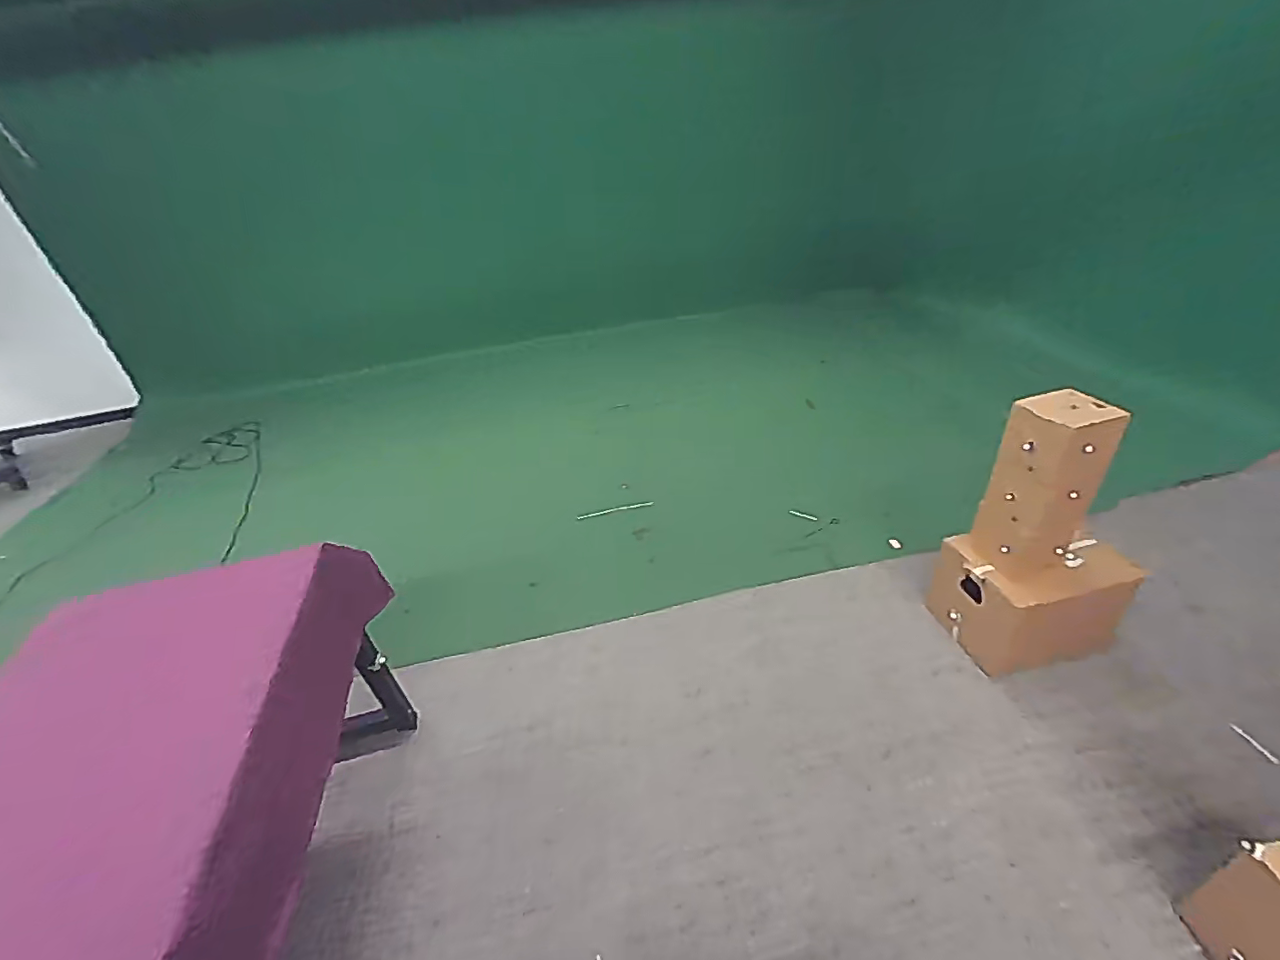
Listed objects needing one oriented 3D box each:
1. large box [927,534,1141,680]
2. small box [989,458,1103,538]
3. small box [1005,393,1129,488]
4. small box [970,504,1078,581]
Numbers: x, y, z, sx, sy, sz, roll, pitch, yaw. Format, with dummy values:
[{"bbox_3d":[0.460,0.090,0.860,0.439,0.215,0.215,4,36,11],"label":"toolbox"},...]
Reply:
[{"bbox_3d":[1.196,0.368,1.691,0.408,0.320,0.320,-11,34,-7],"label":"large box"},{"bbox_3d":[1.088,0.037,1.470,0.179,0.176,0.168,-14,35,-11],"label":"small box"},{"bbox_3d":[1.071,-0.098,1.377,0.179,0.176,0.168,-13,34,-9],"label":"small box"},{"bbox_3d":[1.098,0.172,1.561,0.168,0.176,0.179,-12,33,-8],"label":"small box"}]
